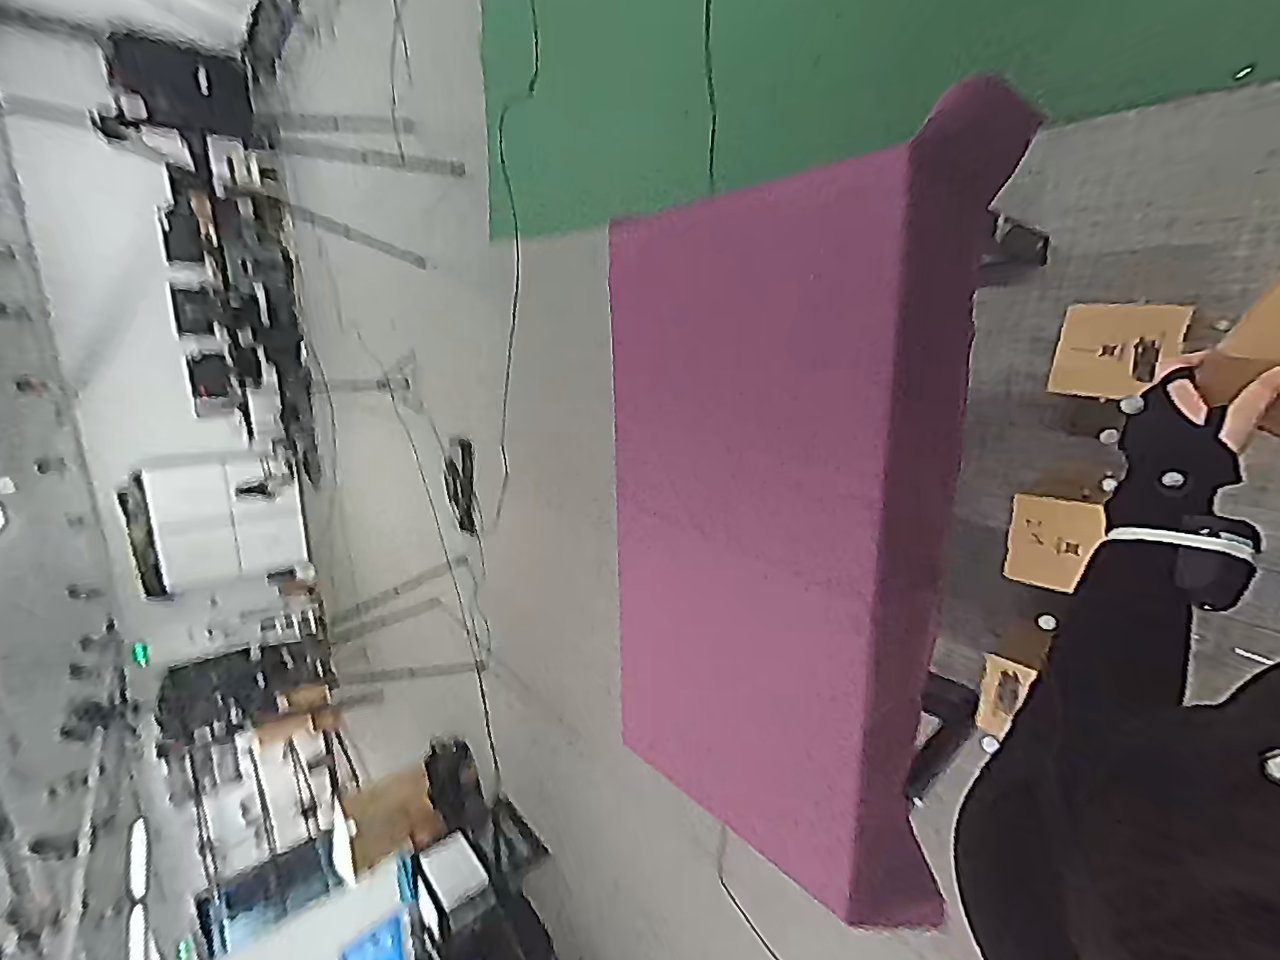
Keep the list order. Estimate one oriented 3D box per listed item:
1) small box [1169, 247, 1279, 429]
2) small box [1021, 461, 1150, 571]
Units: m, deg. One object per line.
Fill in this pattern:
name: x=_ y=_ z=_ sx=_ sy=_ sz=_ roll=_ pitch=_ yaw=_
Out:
small box: x=0.593 y=-0.135 z=0.421 sx=0.168 sy=0.176 sz=0.179 roll=44 pitch=147 yaw=34
small box: x=0.927 y=0.066 z=1.125 sx=0.168 sy=0.176 sz=0.179 roll=15 pitch=109 yaw=47
